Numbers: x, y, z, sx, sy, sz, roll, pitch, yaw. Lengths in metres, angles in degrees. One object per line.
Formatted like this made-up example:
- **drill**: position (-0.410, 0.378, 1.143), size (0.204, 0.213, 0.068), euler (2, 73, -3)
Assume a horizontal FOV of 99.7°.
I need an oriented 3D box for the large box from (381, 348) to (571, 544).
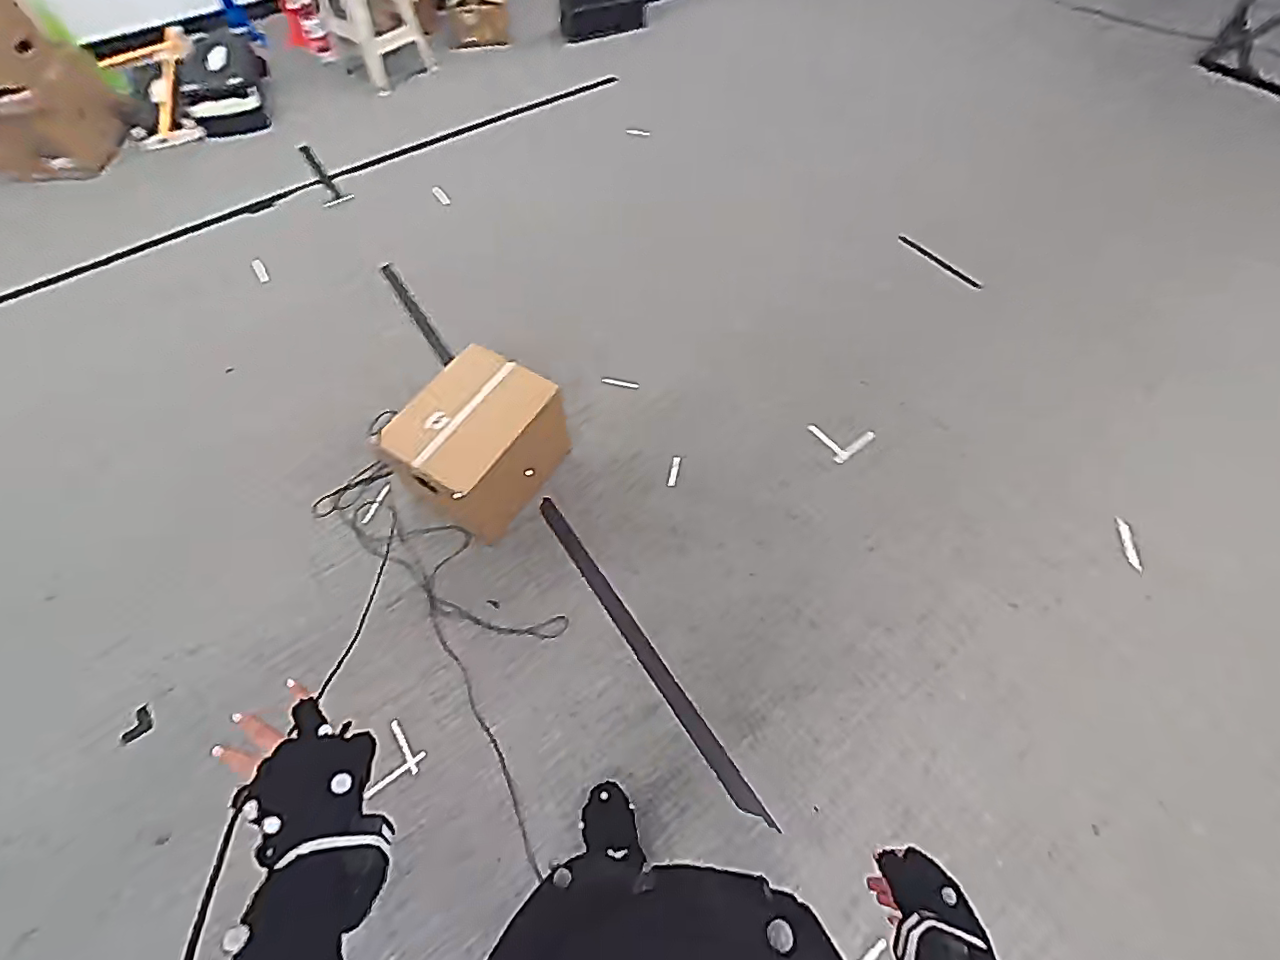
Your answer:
- **large box**: position (-0.444, -0.096, 1.570), size (0.320, 0.320, 0.408), euler (28, 65, 15)
